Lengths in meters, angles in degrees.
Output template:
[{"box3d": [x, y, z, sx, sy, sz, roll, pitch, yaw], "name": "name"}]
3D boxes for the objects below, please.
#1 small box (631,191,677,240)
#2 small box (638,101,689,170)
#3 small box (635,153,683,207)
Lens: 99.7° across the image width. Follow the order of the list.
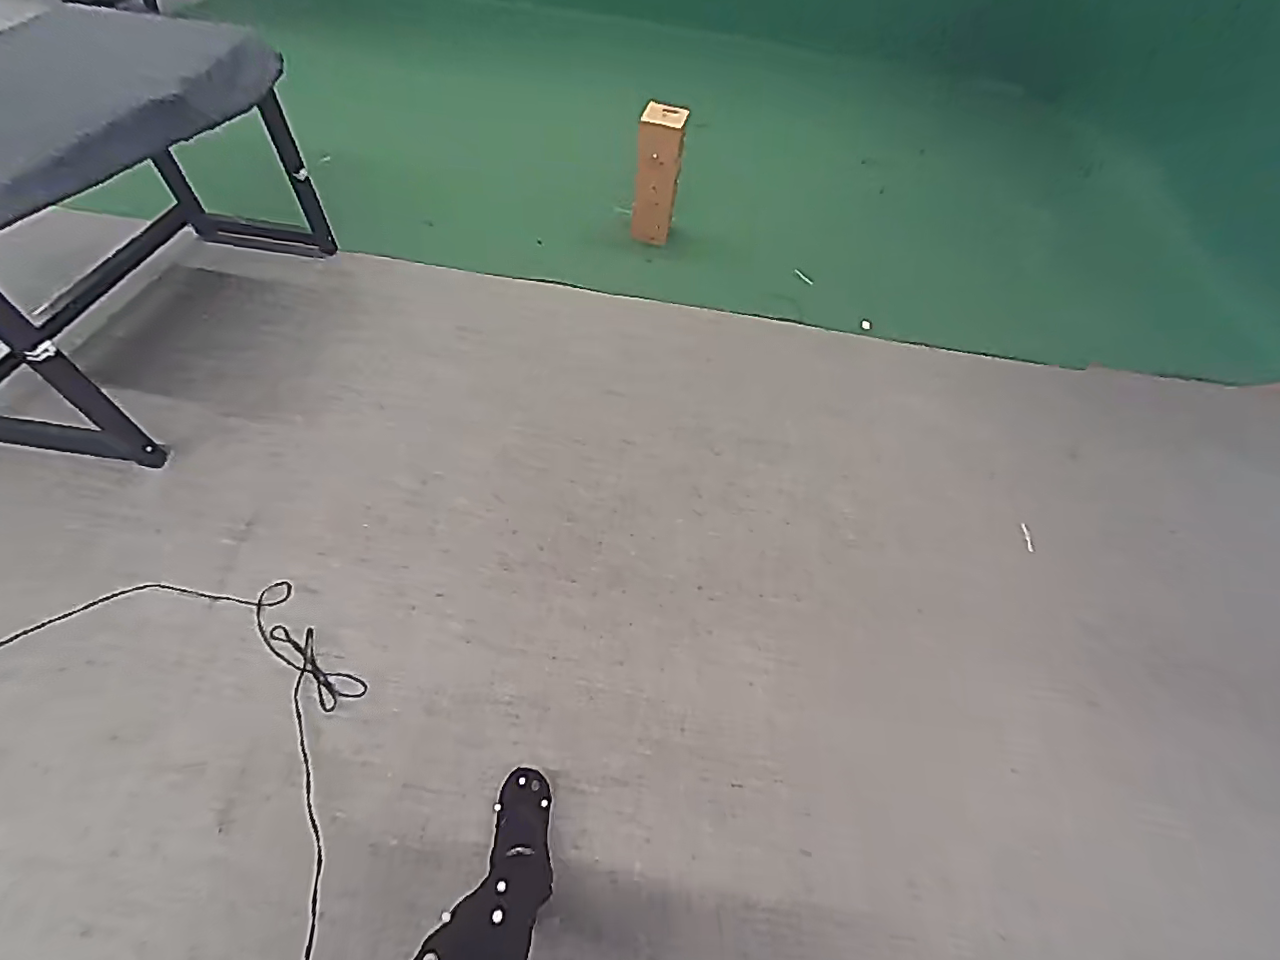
[{"box3d": [0.060, -1.220, 2.453, 0.168, 0.176, 0.179, 16, 55, 2], "name": "small box"}, {"box3d": [0.093, -1.403, 2.205, 0.168, 0.176, 0.179, 15, 56, 3], "name": "small box"}, {"box3d": [0.078, -1.309, 2.340, 0.168, 0.176, 0.179, 15, 56, 3], "name": "small box"}]
